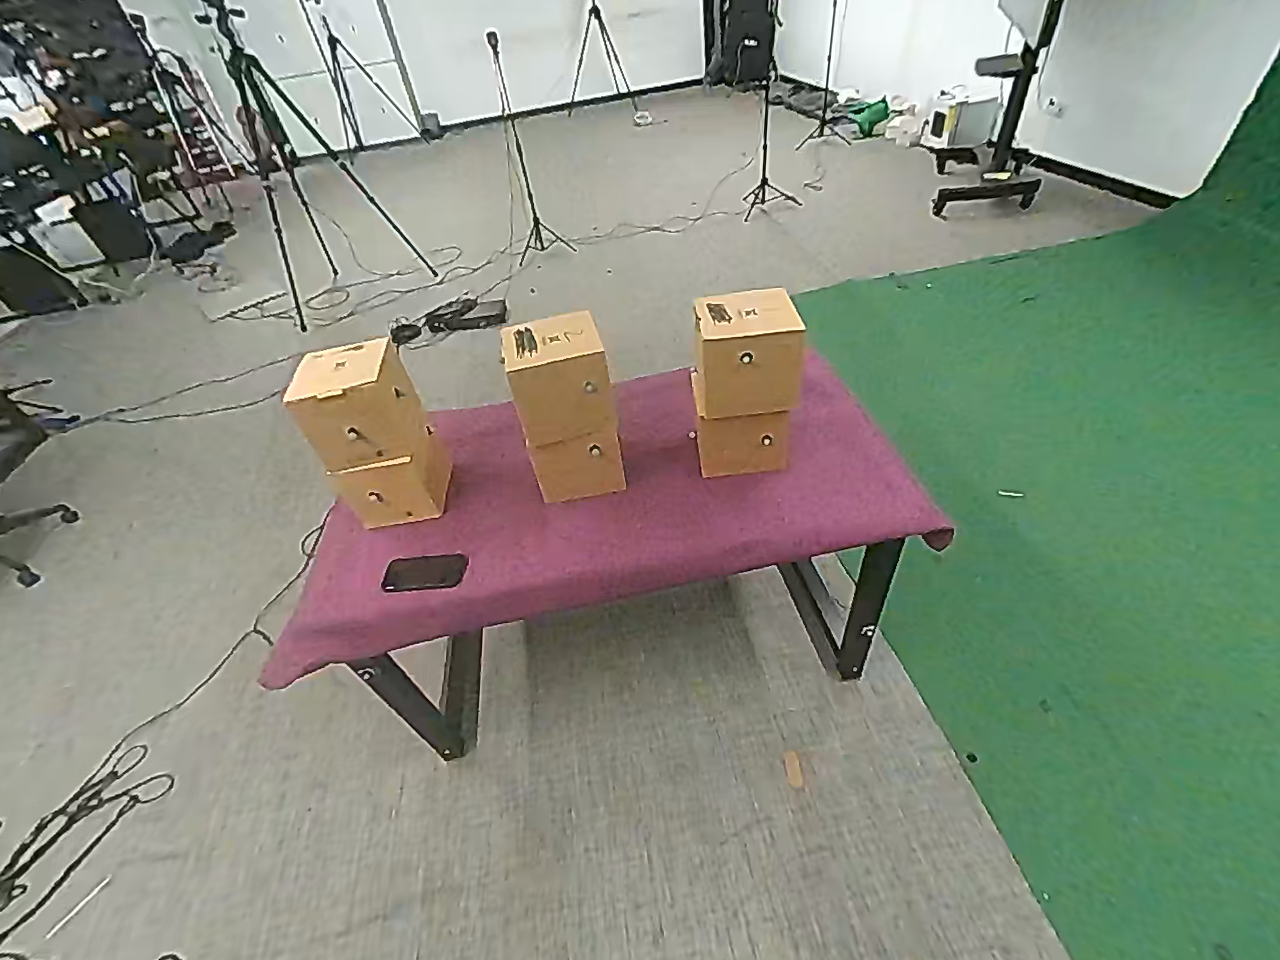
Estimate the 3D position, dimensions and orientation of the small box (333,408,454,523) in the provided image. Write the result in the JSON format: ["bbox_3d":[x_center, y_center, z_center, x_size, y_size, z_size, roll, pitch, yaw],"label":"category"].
[{"bbox_3d":[-0.512,-0.024,1.155,0.168,0.176,0.179,-10,43,0],"label":"small box"}]

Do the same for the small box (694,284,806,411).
[{"bbox_3d":[0.200,-0.243,1.009,0.179,0.176,0.168,-6,43,4],"label":"small box"}]

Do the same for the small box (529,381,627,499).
[{"bbox_3d":[-0.126,-0.082,1.140,0.179,0.176,0.168,-11,43,0],"label":"small box"}]

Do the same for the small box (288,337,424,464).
[{"bbox_3d":[-0.535,-0.148,1.049,0.168,0.176,0.179,-13,44,-4],"label":"small box"}]

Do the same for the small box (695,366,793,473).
[{"bbox_3d":[0.211,-0.134,1.132,0.179,0.176,0.168,-7,43,5],"label":"small box"}]
